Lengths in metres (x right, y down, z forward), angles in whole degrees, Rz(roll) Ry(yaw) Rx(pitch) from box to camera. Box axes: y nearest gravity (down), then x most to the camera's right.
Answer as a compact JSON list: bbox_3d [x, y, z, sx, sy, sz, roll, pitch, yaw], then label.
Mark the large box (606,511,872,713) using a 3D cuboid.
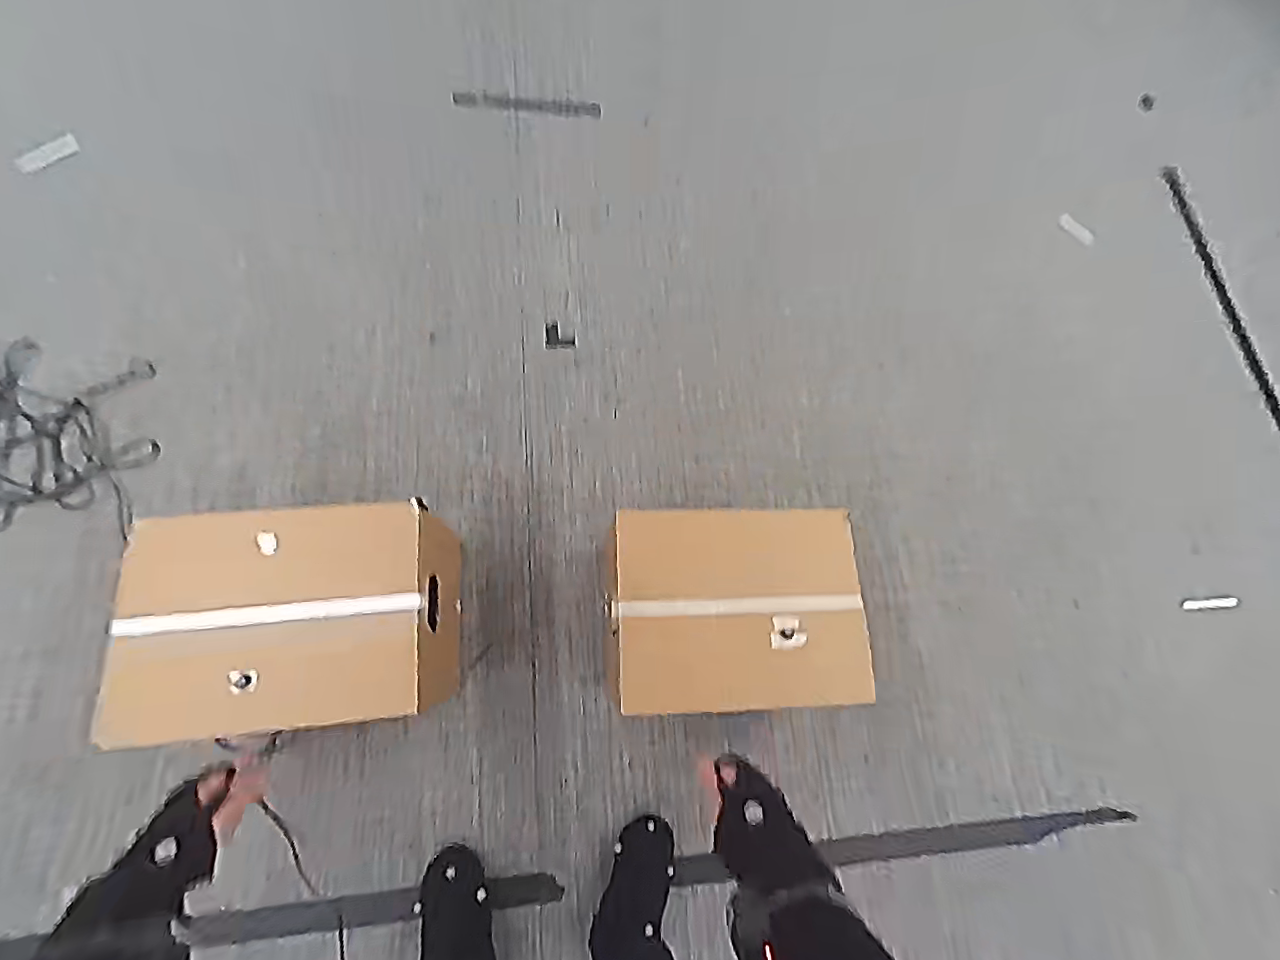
[{"bbox_3d":[0.149,0.247,1.021,0.408,0.320,0.320,1,73,-8],"label":"large box"}]
